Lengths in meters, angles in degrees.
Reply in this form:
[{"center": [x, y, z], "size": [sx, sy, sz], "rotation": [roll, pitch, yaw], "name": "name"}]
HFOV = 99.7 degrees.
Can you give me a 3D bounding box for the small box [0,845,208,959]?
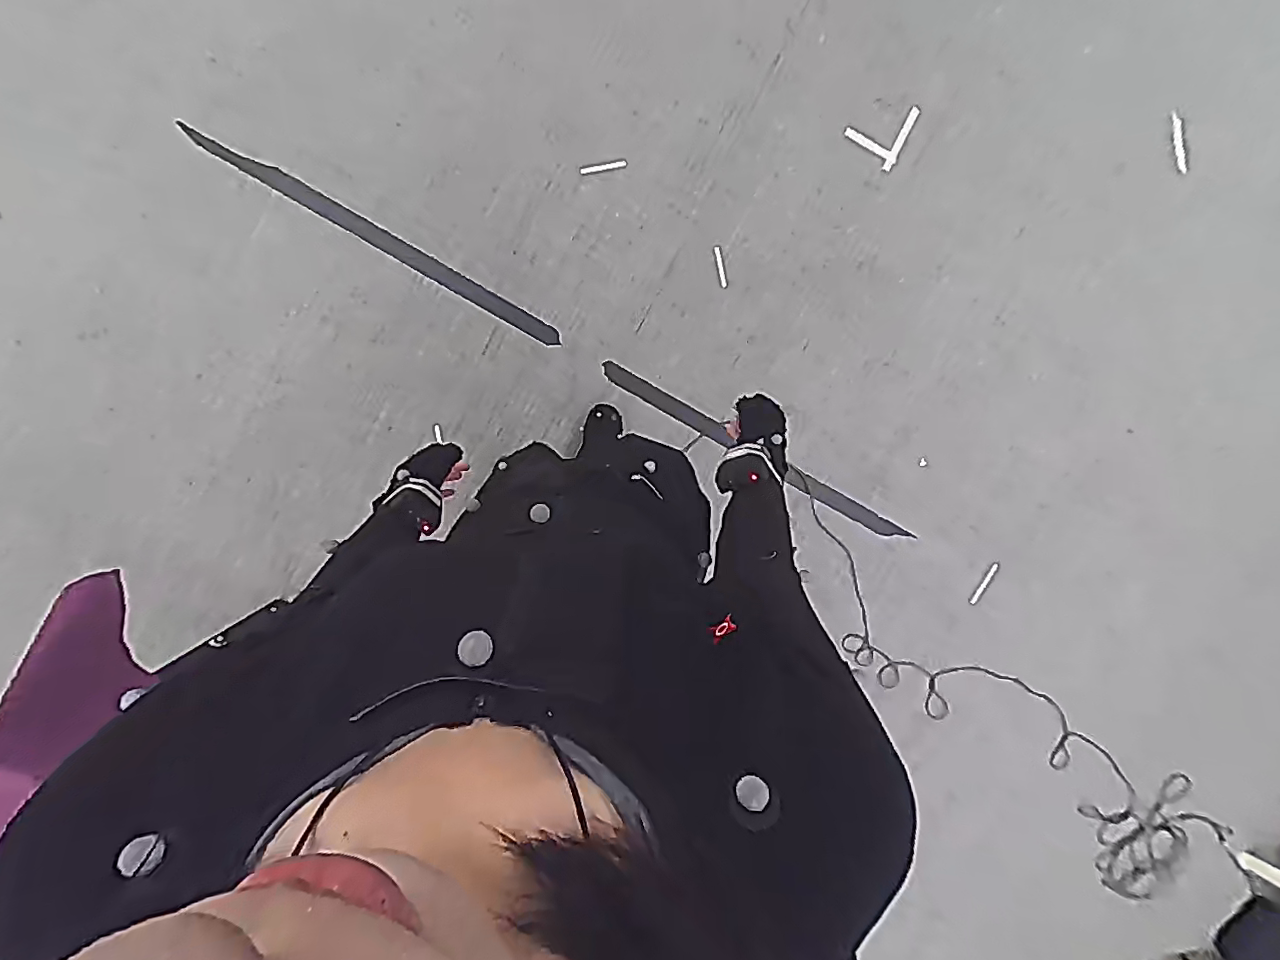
[{"center": [-0.737, 0.644, 0.724], "size": [0.168, 0.176, 0.179], "rotation": [30, 95, -6], "name": "small box"}]
